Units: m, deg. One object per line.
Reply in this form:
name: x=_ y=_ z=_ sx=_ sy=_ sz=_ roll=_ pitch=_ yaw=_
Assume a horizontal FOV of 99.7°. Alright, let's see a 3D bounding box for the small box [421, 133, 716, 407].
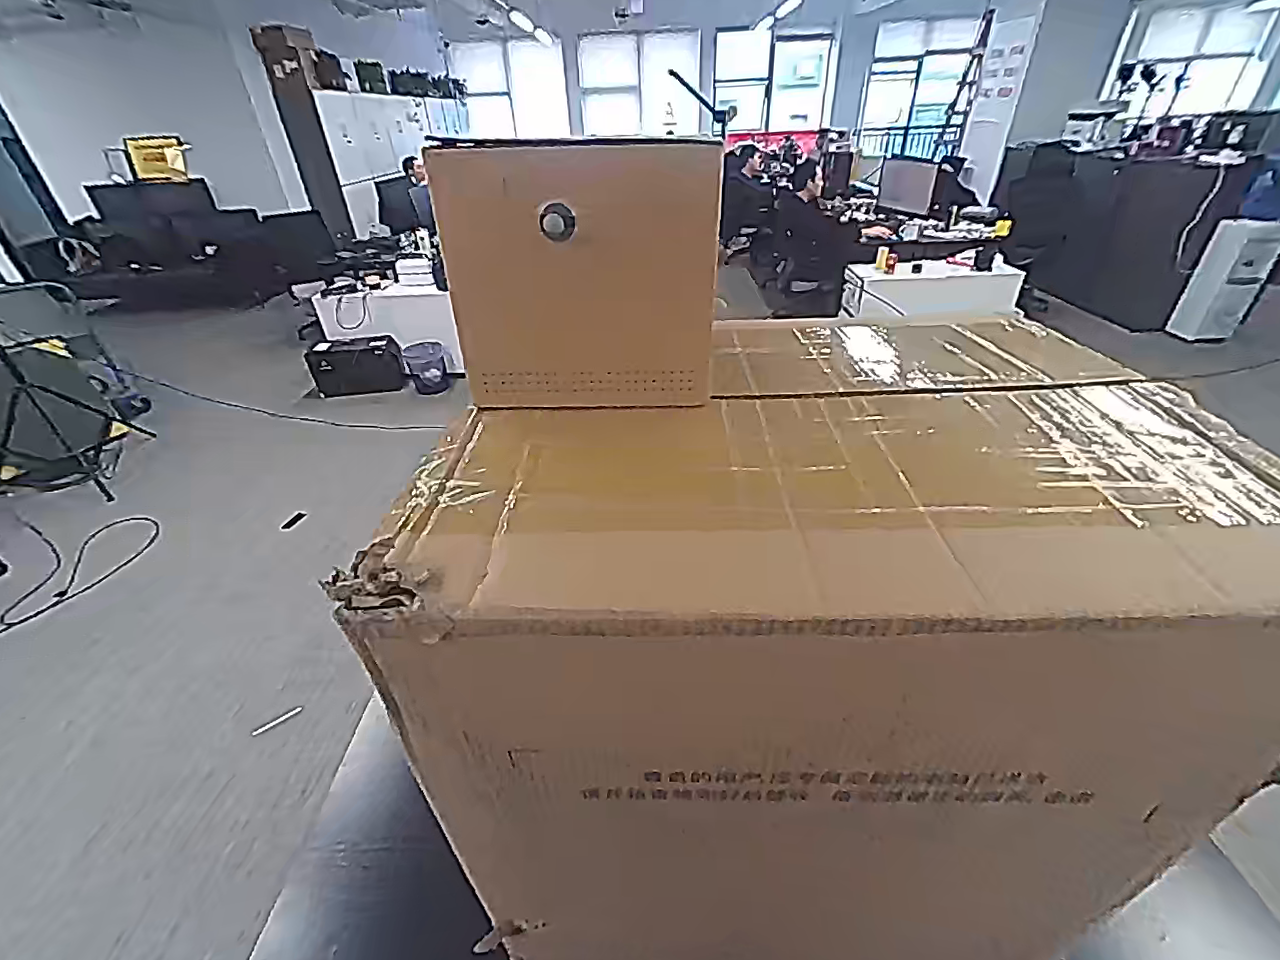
small box: x=-0.037 y=-0.163 z=0.419 sx=0.179 sy=0.176 sz=0.168 roll=0 pitch=32 yaw=2
